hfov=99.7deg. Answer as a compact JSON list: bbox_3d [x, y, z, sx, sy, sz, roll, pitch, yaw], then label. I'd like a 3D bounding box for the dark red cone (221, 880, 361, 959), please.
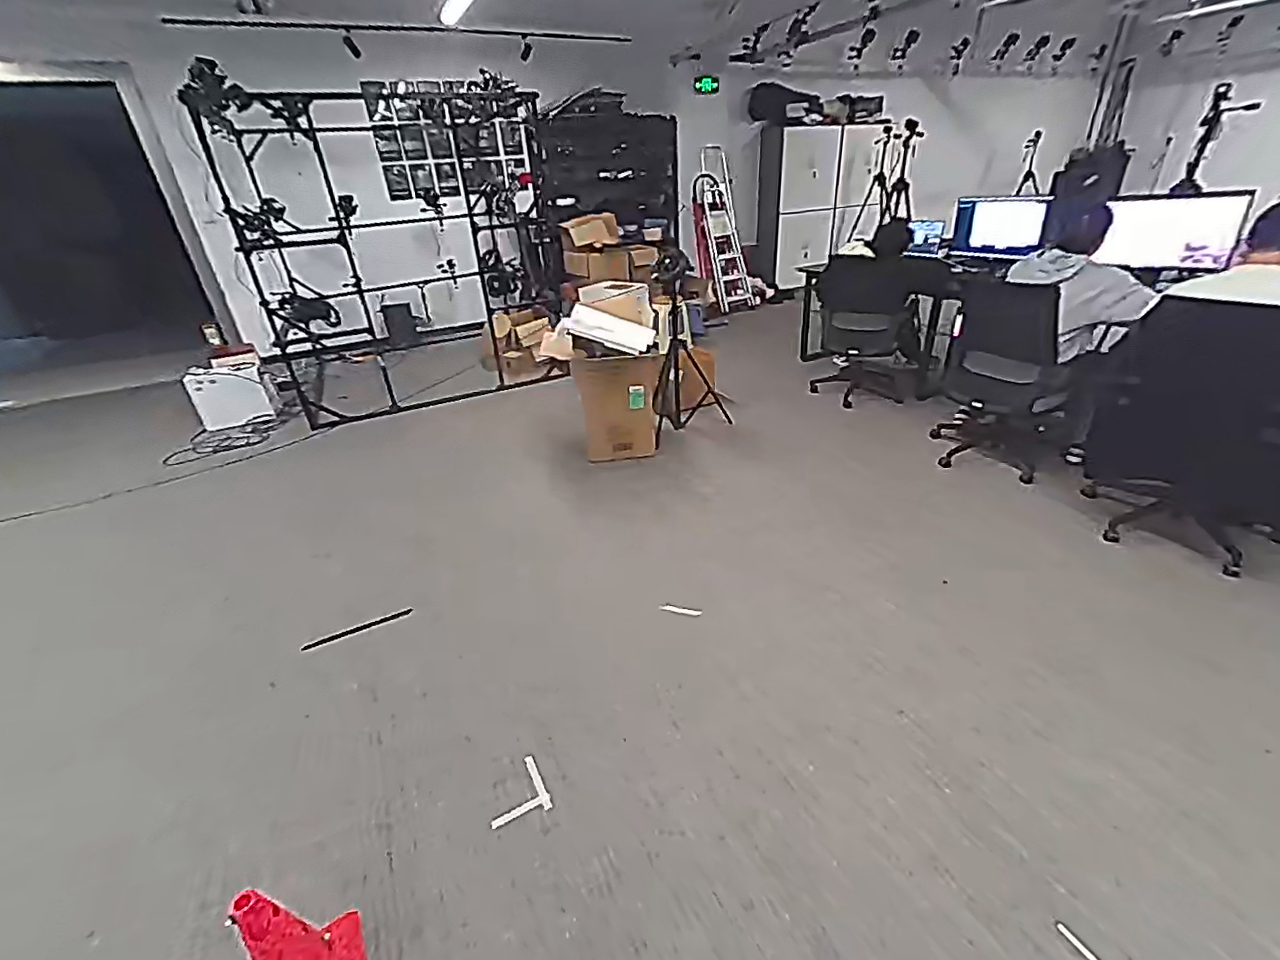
[{"bbox_3d":[-0.694,0.882,1.029,0.202,0.394,0.201,-21,34,-27],"label":"dark red cone"}]
